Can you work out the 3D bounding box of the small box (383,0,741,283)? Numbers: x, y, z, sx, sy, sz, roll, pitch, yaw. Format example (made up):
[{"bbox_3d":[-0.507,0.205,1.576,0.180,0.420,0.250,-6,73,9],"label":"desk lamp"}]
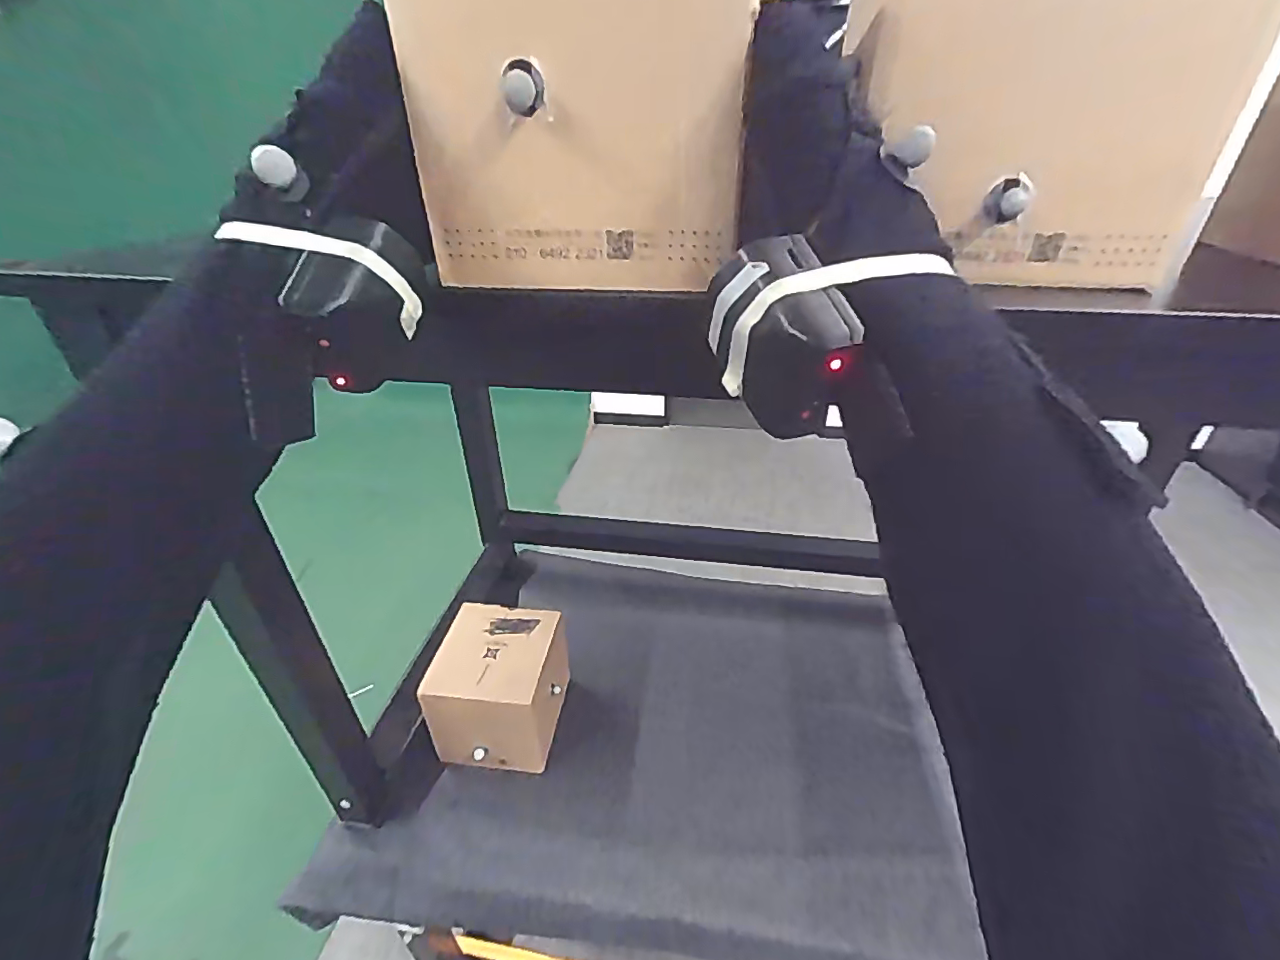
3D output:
[{"bbox_3d":[-0.026,-0.221,0.329,0.168,0.176,0.179,2,31,5],"label":"small box"}]

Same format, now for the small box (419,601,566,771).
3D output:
[{"bbox_3d":[-0.216,0.317,0.846,0.168,0.176,0.179,3,32,6],"label":"small box"}]

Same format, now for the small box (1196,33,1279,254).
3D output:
[{"bbox_3d":[0.476,-0.208,0.290,0.168,0.176,0.179,9,33,15],"label":"small box"}]
